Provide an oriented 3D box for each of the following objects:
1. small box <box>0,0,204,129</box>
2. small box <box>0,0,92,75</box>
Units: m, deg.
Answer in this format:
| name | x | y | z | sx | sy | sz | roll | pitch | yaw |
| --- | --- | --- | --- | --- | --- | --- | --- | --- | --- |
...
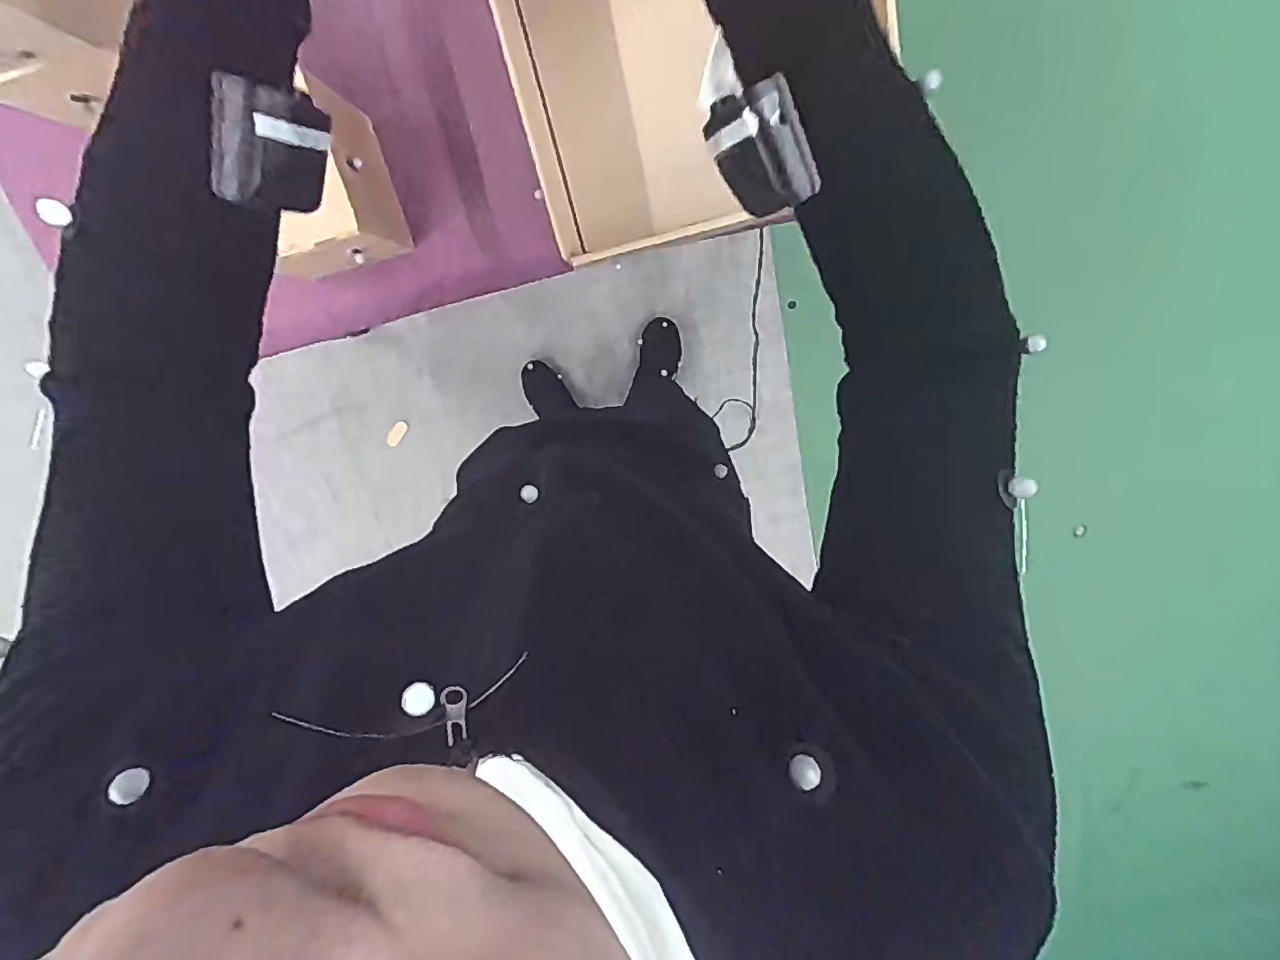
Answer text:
| name | x | y | z | sx | sy | sz | roll | pitch | yaw |
| --- | --- | --- | --- | --- | --- | --- | --- | --- | --- |
| small box | -0.678 | -0.545 | 0.636 | 0.168 | 0.176 | 0.179 | -15 | 106 | 5 |
| small box | -0.672 | -0.499 | 0.478 | 0.168 | 0.176 | 0.179 | -11 | 108 | 4 |
